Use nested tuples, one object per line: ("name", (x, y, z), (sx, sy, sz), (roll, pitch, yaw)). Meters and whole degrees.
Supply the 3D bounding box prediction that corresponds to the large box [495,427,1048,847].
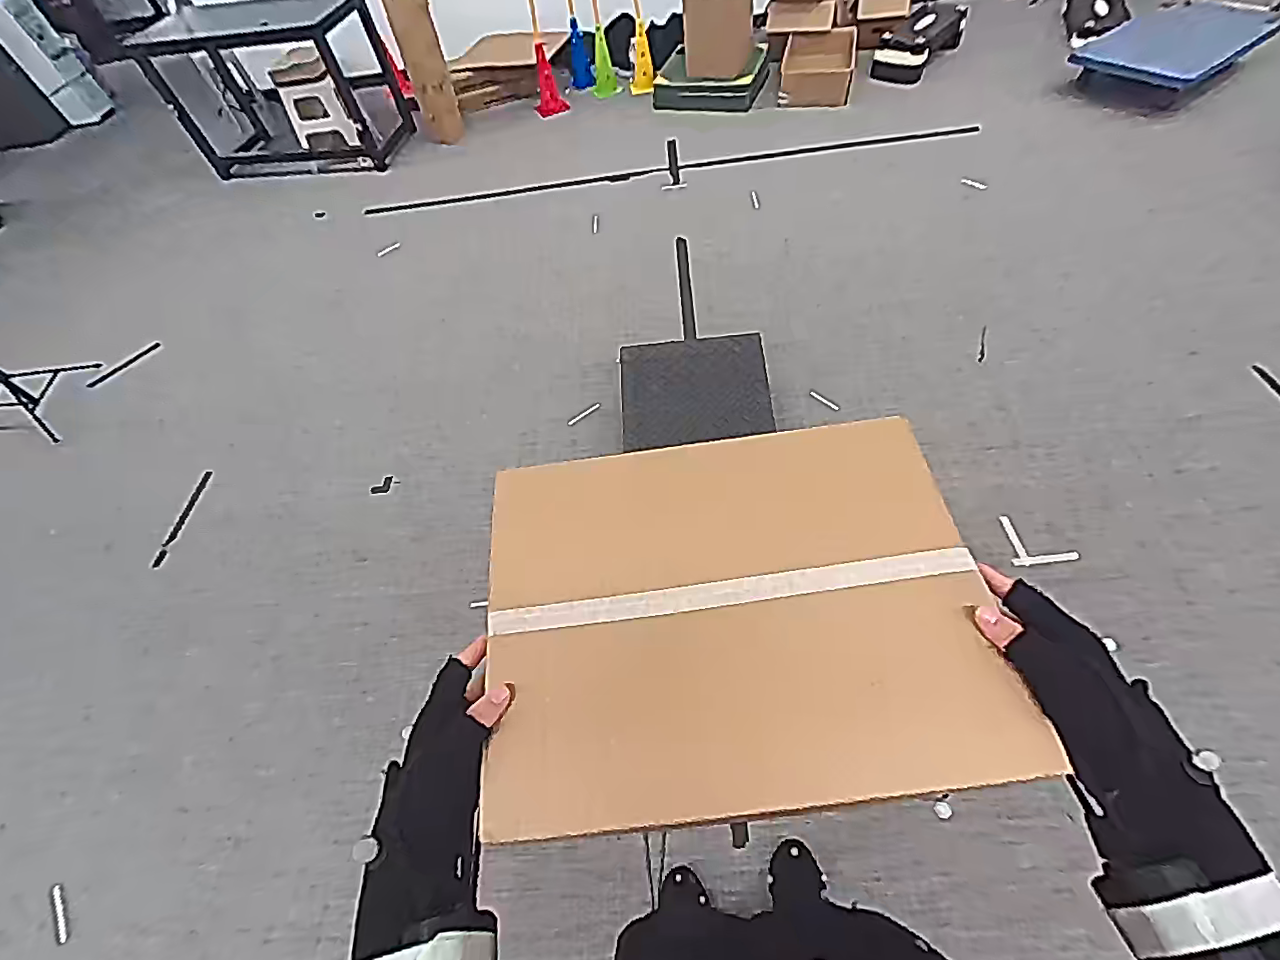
("large box", (0.091, 0.180, 0.584), (0.408, 0.320, 0.320), (-8, 57, 1))
